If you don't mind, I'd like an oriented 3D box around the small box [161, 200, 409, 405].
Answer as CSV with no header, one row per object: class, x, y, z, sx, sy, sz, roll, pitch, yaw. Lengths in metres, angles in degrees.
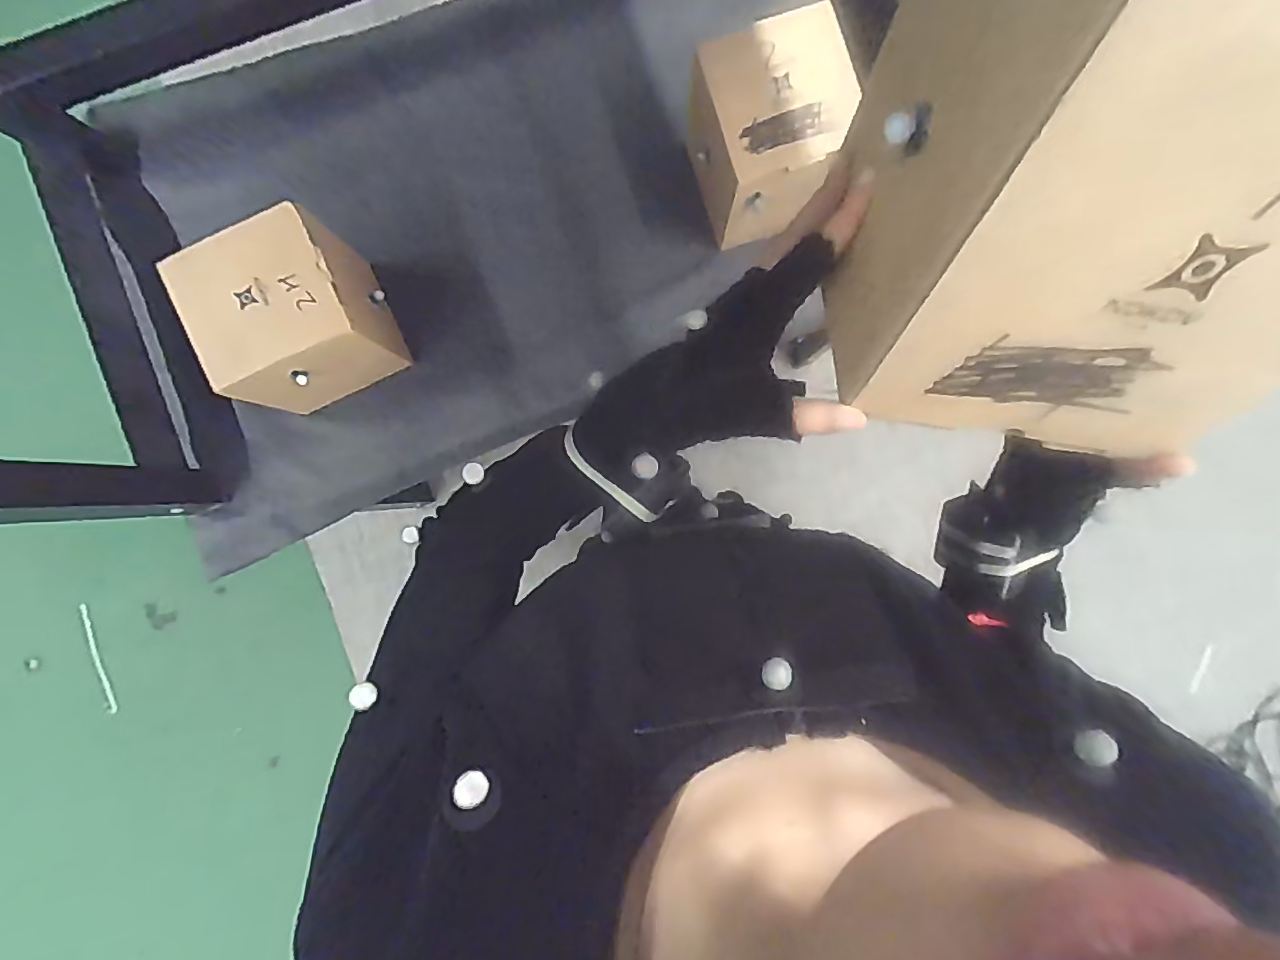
small box,-0.438,-0.211,0.696,0.179,0.176,0.168,-25,89,-1
